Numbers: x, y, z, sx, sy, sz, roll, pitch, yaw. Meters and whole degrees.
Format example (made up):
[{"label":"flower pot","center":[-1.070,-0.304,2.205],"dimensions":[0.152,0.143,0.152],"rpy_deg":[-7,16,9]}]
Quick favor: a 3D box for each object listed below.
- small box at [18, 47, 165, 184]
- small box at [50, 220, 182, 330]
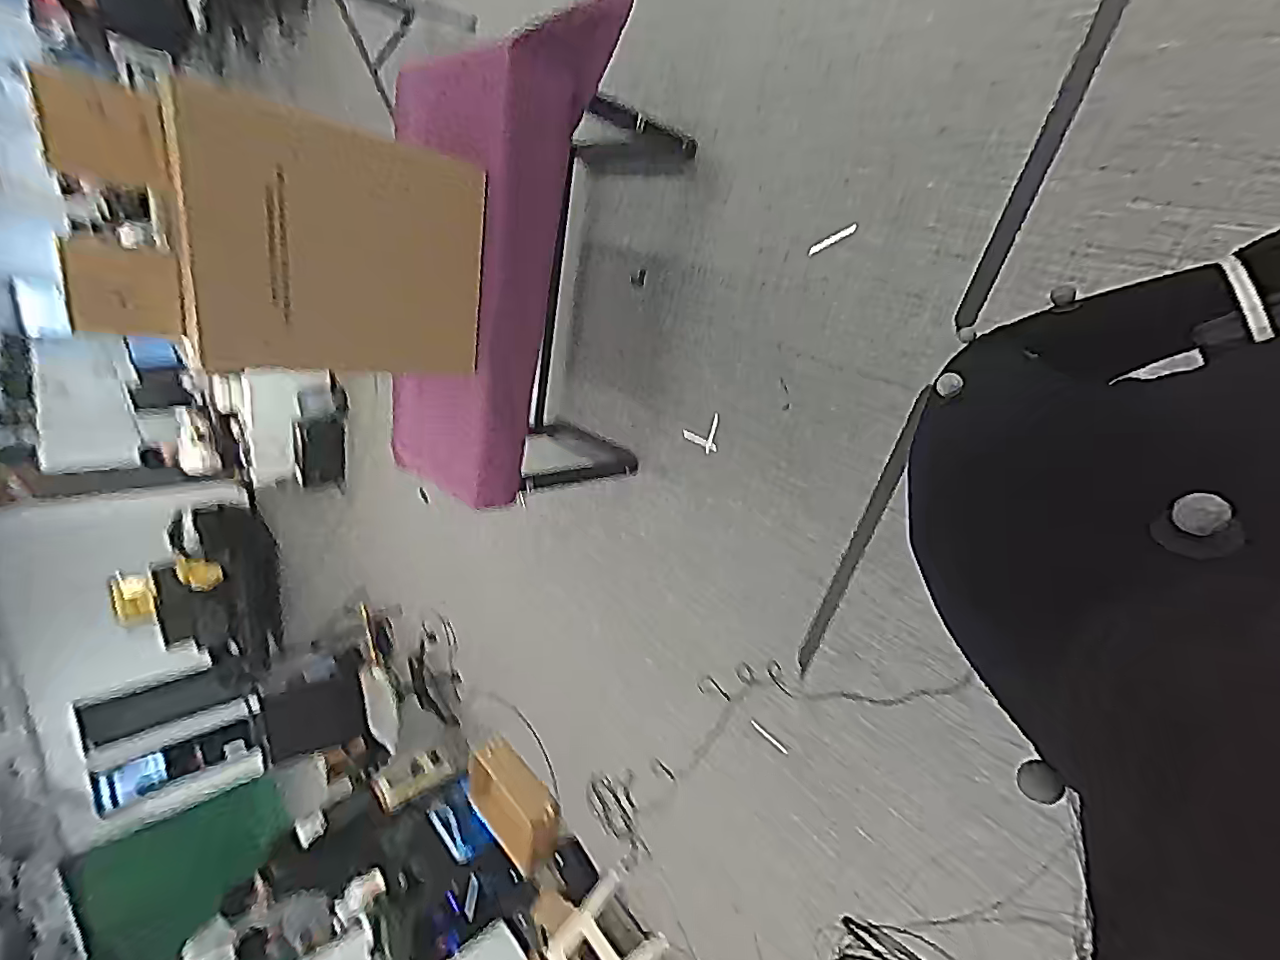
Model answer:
[{"label":"small box","center":[-1.005,-0.660,1.000],"dimensions":[0.179,0.176,0.168],"rpy_deg":[25,115,39]},{"label":"small box","center":[-1.052,-0.408,1.093],"dimensions":[0.168,0.176,0.179],"rpy_deg":[28,116,37]}]
